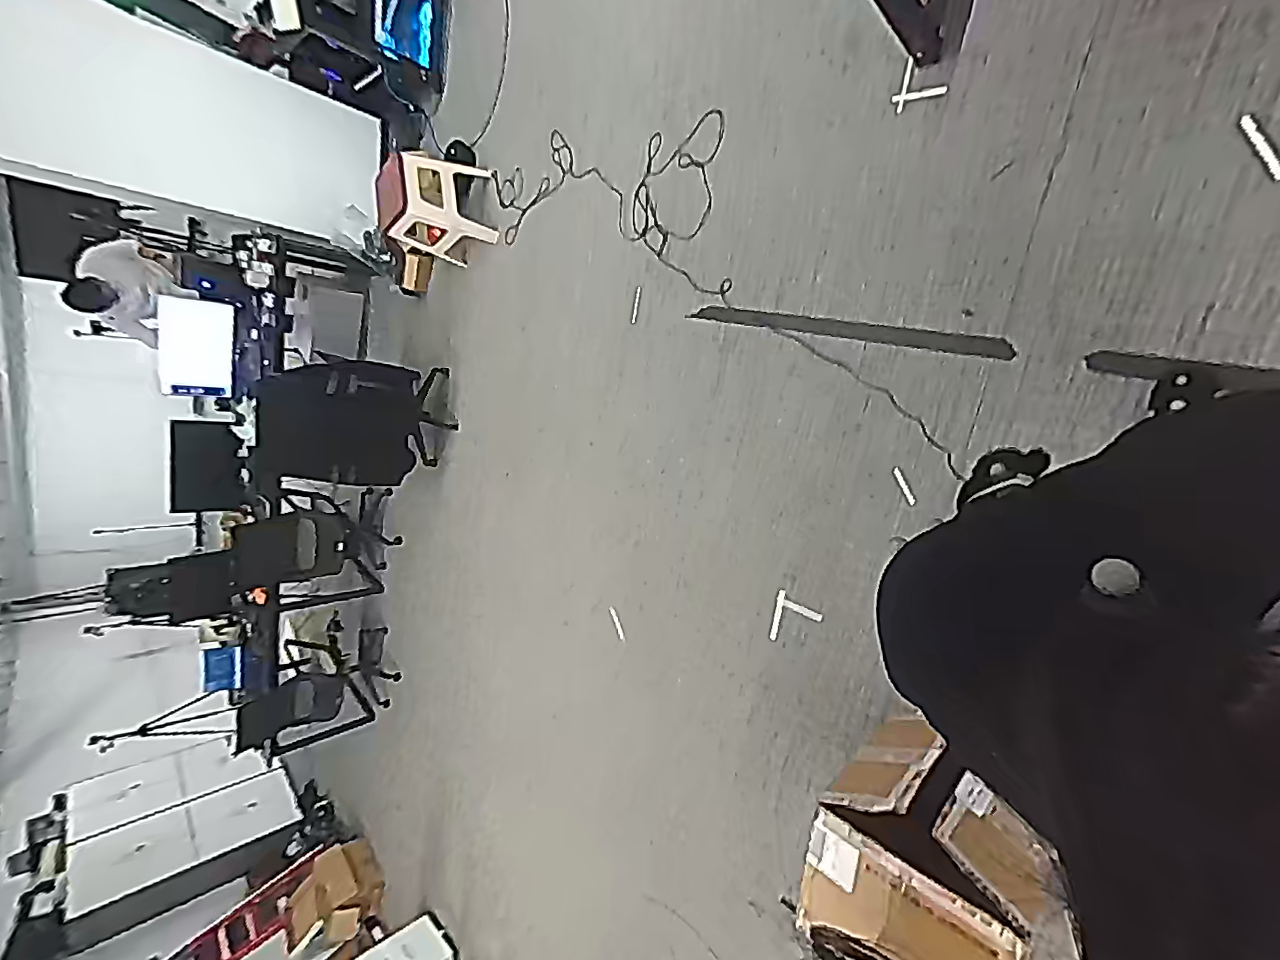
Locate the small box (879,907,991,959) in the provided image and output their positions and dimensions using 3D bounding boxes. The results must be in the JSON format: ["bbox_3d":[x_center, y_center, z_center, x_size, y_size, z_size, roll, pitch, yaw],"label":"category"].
[{"bbox_3d":[0.513,0.908,0.938,0.179,0.176,0.168,14,104,43],"label":"small box"}]
